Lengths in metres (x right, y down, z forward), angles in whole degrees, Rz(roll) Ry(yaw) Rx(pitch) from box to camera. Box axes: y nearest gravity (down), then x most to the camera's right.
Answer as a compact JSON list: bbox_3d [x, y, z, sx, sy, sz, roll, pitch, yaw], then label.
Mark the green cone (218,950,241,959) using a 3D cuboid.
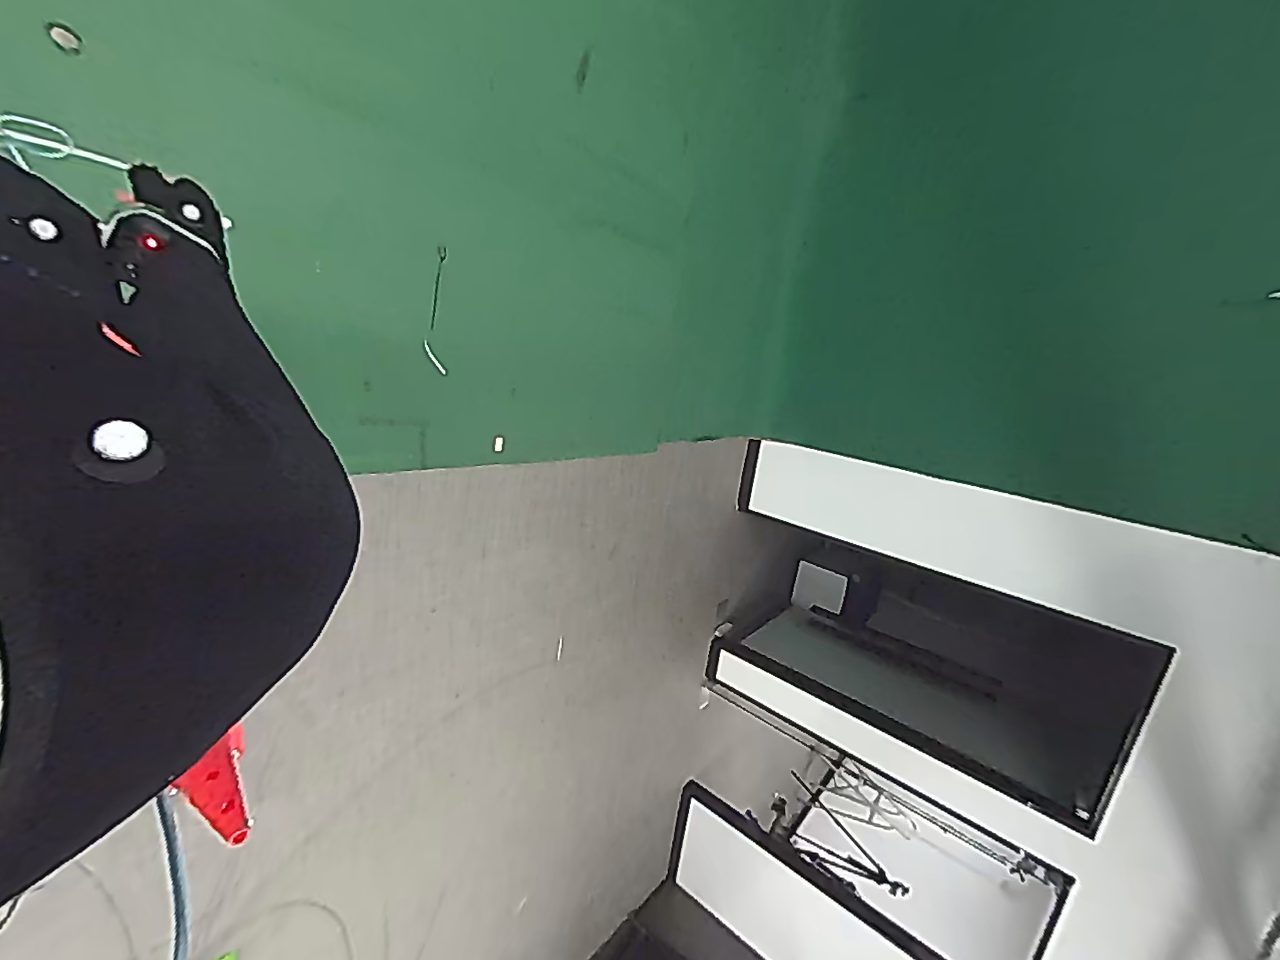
[{"bbox_3d":[-1.135,1.529,1.446,0.202,0.368,0.200,-10,113,-49],"label":"green cone"}]
